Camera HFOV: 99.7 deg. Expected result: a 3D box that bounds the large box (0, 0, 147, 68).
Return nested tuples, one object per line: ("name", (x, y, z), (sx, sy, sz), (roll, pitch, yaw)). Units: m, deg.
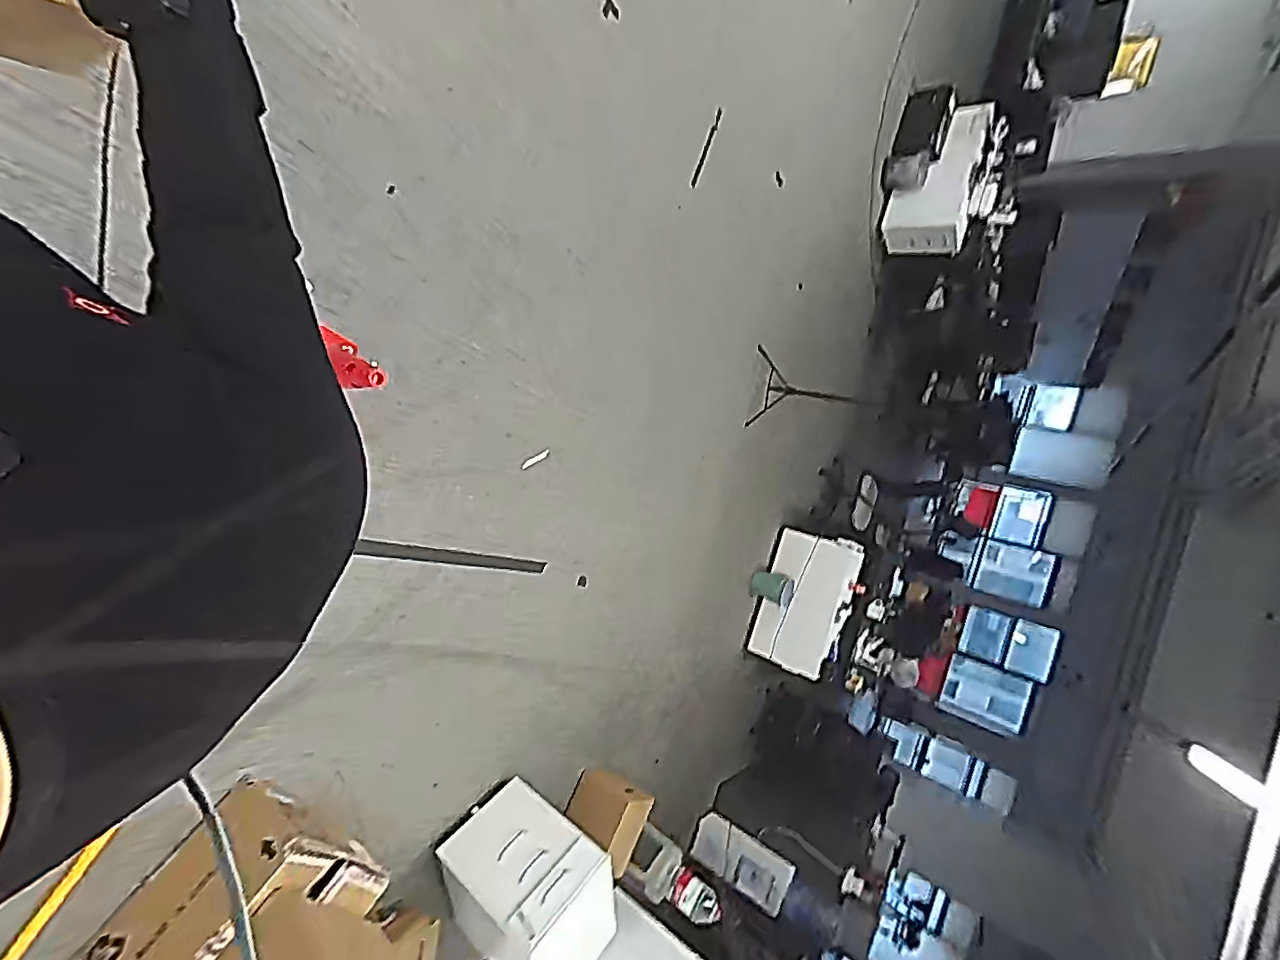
("large box", (-0.561, -0.477, 0.265), (0.408, 0.320, 0.320), (-13, 120, -50))
